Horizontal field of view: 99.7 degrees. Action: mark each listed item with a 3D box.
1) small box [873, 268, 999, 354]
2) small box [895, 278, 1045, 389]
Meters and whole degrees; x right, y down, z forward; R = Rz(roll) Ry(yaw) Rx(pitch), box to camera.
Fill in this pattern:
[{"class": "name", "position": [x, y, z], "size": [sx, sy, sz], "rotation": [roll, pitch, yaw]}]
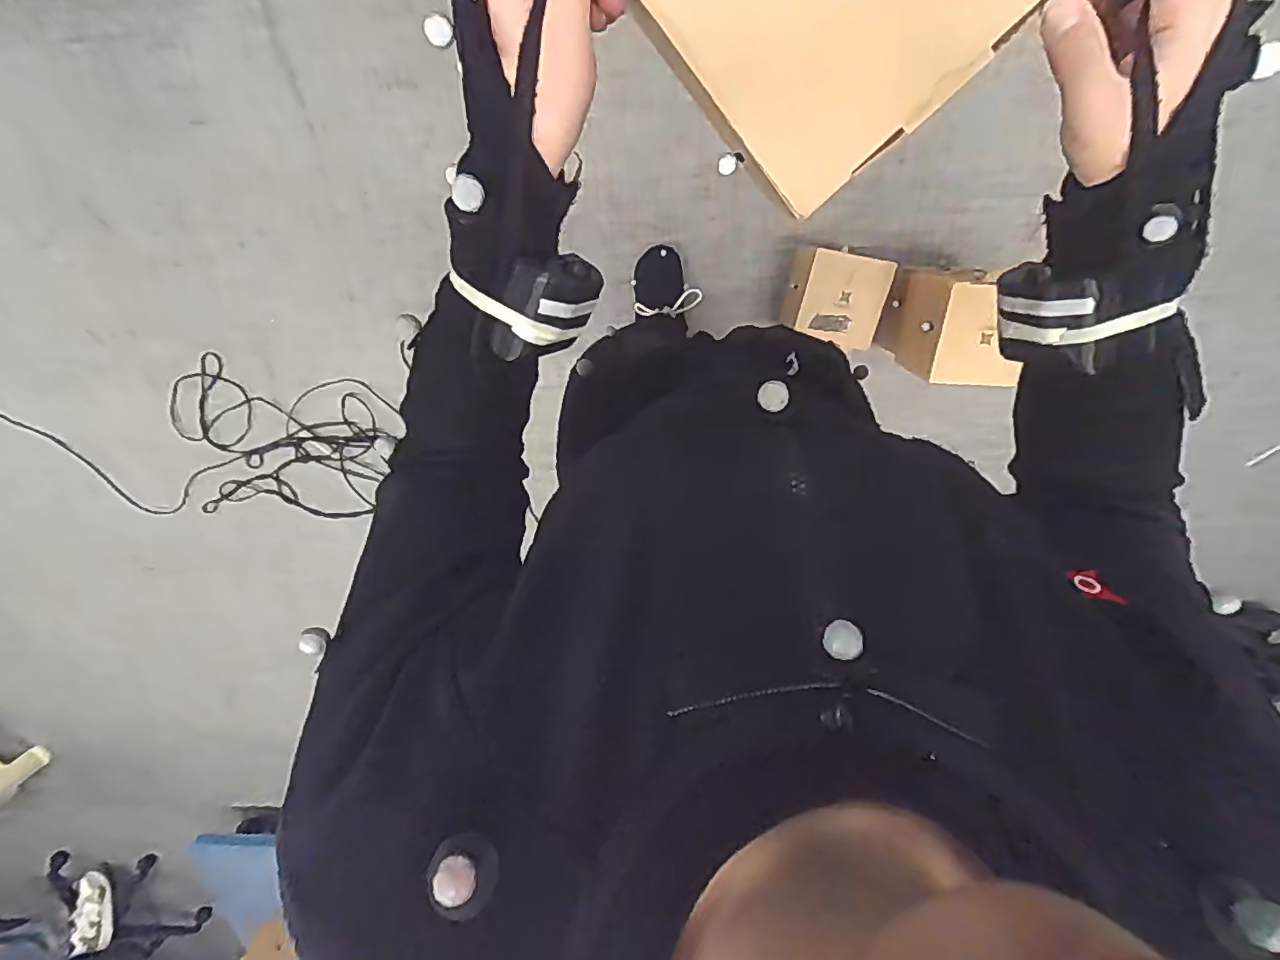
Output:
[{"class": "small box", "position": [0.621, -0.358, 1.160], "size": [0.168, 0.176, 0.179], "rotation": [2, 113, 1]}, {"class": "small box", "position": [0.603, -0.280, 1.017], "size": [0.168, 0.176, 0.179], "rotation": [2, 113, 2]}]
